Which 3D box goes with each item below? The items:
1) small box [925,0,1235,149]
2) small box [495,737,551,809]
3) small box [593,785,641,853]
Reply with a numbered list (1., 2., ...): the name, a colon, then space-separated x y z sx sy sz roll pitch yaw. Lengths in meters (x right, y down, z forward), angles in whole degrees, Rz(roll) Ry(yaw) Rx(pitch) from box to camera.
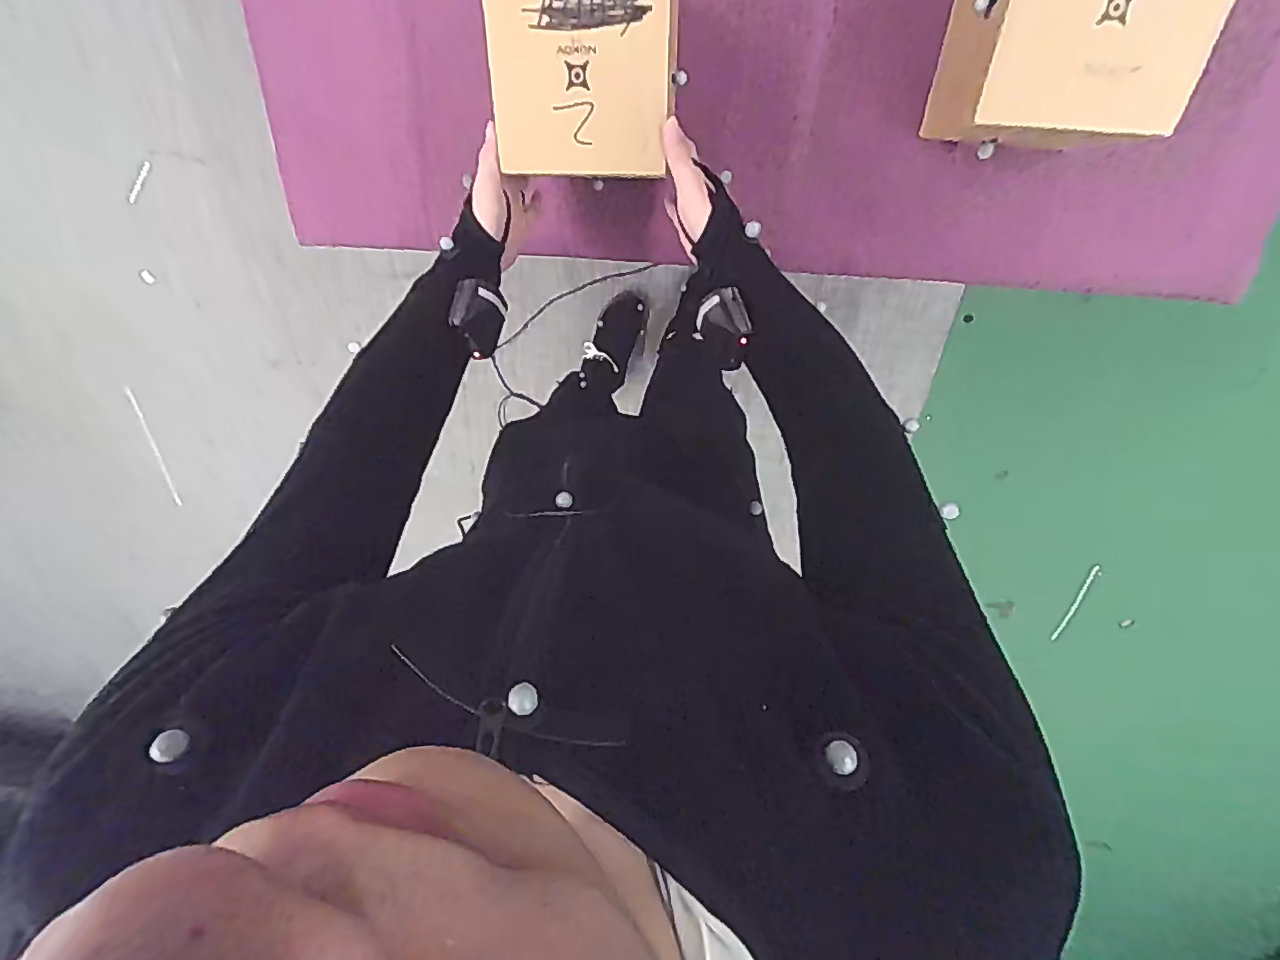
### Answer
1. small box: 0.389 -0.418 0.495 0.168 0.176 0.179 9 119 6
2. small box: -0.459 1.148 2.129 0.168 0.176 0.179 15 122 1
3. small box: -0.089 1.372 2.196 0.168 0.176 0.179 3 120 9
